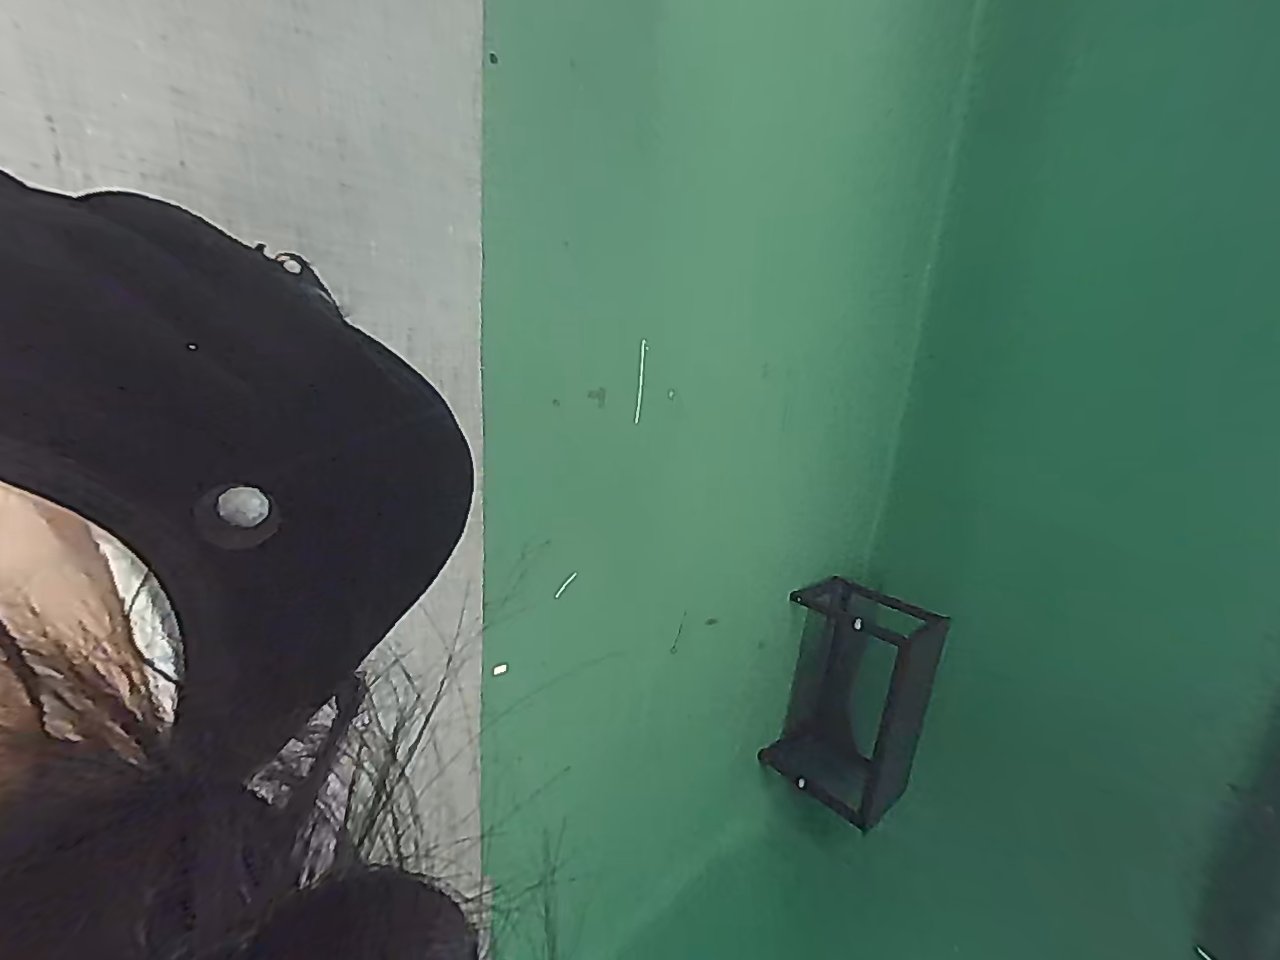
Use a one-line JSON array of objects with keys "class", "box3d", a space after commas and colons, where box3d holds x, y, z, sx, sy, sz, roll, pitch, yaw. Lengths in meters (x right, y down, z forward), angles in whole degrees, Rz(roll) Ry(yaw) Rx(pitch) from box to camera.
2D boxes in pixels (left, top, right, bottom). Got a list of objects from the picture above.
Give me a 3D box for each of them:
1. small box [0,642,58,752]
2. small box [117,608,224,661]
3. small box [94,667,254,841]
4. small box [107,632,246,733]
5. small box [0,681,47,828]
[{"class": "small box", "box3d": [-1.216, 0.427, 0.988, 0.179, 0.176, 0.168, -13, 111, -41]}, {"class": "small box", "box3d": [-1.002, 0.397, 1.172, 0.168, 0.176, 0.179, -14, 112, -38]}, {"class": "small box", "box3d": [-0.793, 0.452, 0.928, 0.179, 0.176, 0.168, -13, 109, -38]}, {"class": "small box", "box3d": [-0.896, 0.421, 1.051, 0.179, 0.176, 0.168, -13, 110, -39]}, {"class": "small box", "box3d": [-1.104, 0.465, 0.874, 0.168, 0.176, 0.179, -14, 113, -41]}]
